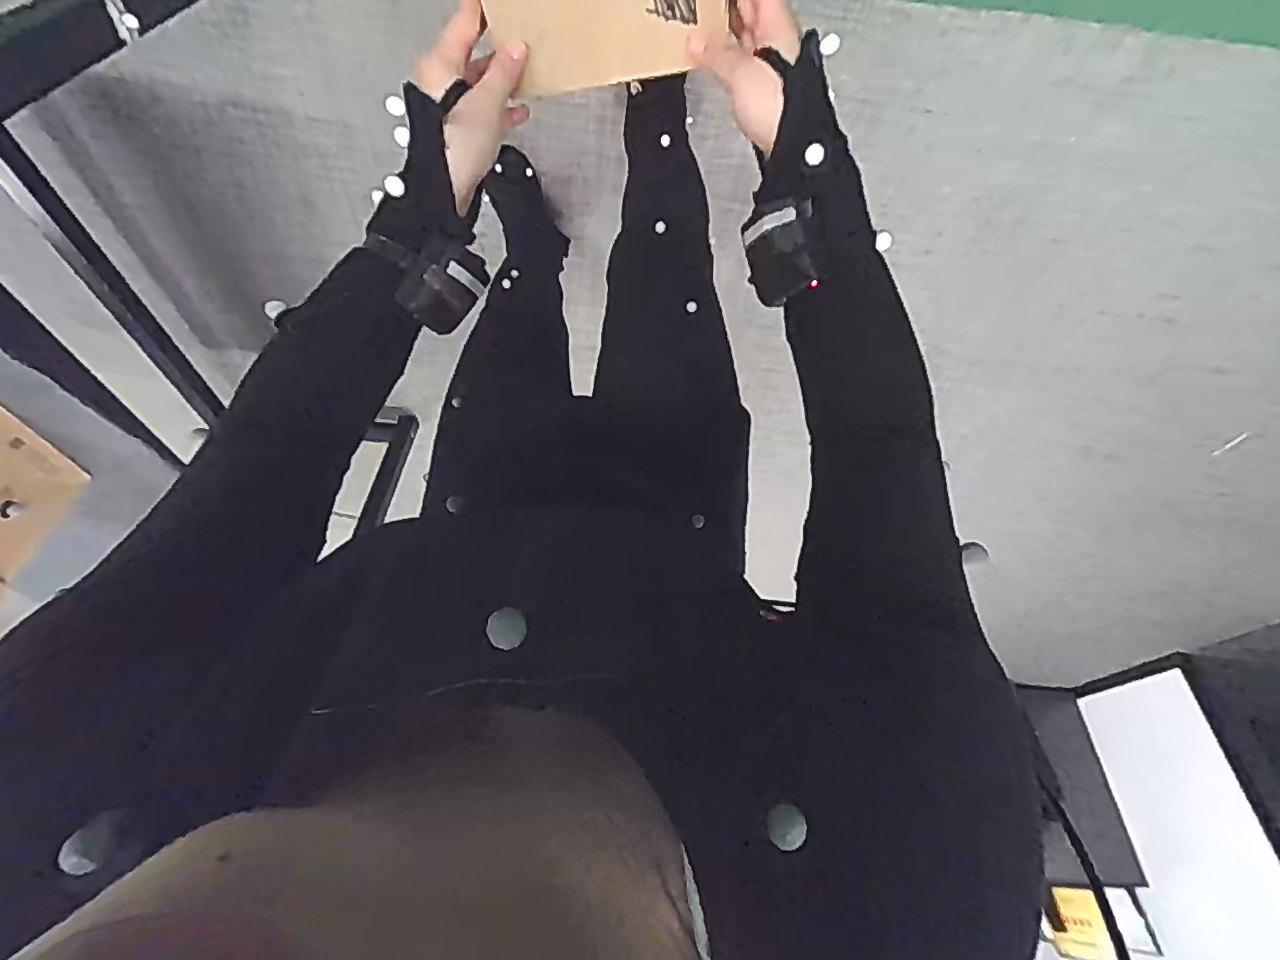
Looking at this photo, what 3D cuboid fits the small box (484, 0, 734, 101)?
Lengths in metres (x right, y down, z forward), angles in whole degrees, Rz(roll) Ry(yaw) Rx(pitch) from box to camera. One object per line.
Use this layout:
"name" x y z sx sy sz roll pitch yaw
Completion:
"small box" -0.028 -0.419 0.395 0.179 0.176 0.168 -5 148 7

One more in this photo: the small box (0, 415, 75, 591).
"small box" -0.833 0.013 0.628 0.179 0.176 0.168 7 146 -2
